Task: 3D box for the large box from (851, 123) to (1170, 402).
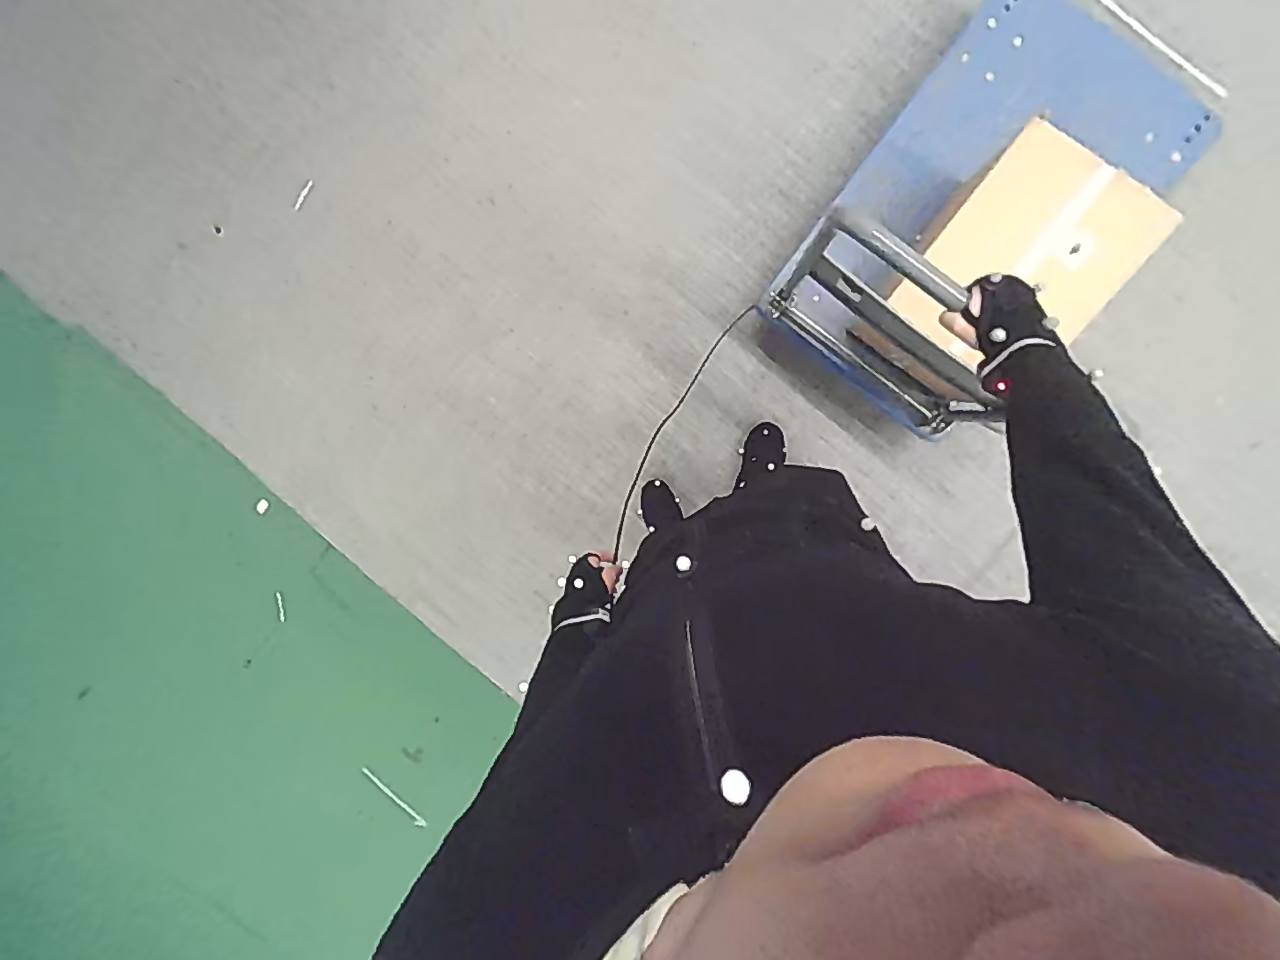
[{"bbox_3d":[0.724,-0.412,1.142,0.320,0.320,0.408,37,102,2],"label":"large box"}]
